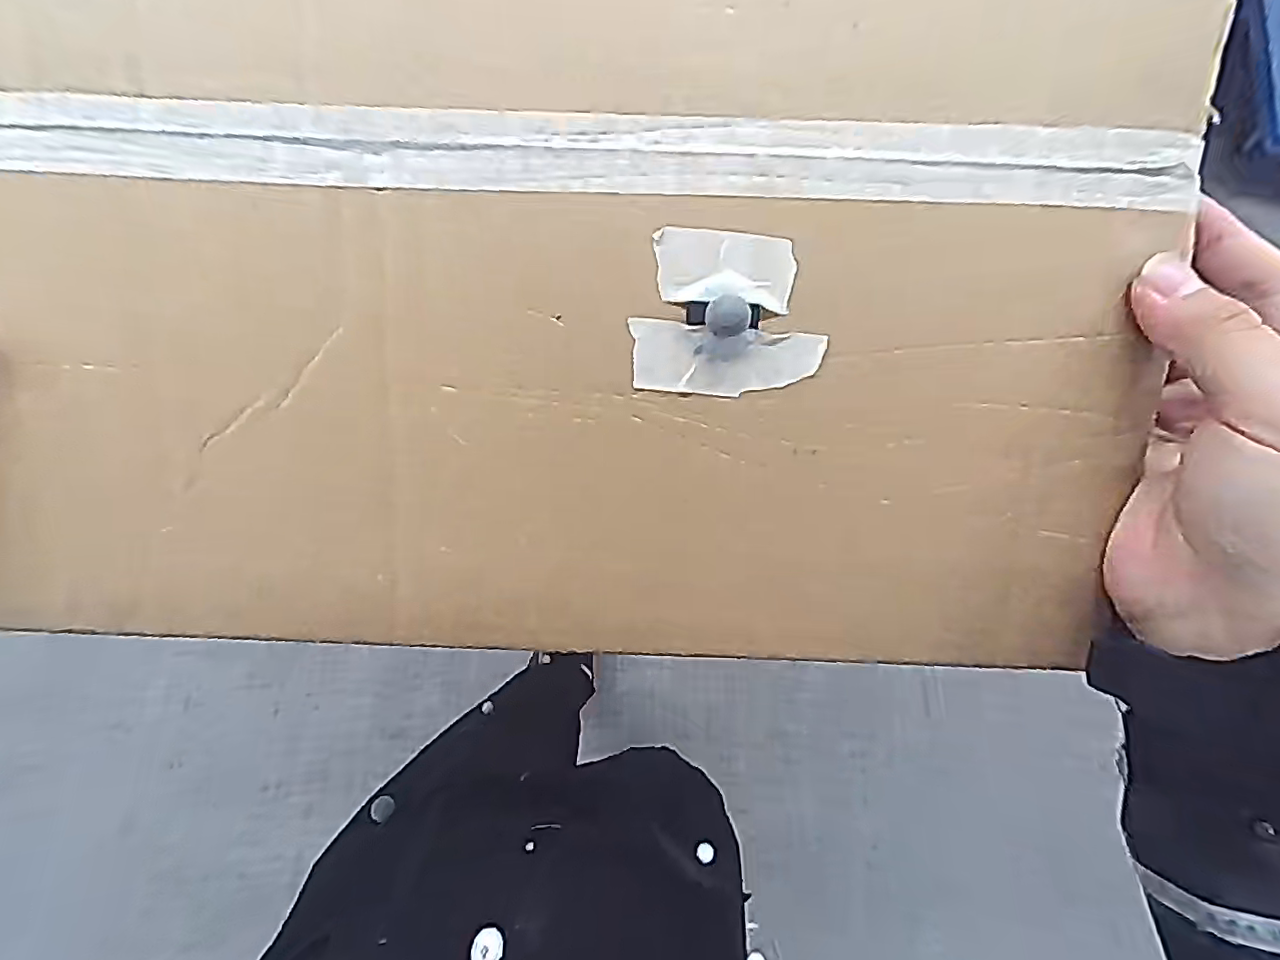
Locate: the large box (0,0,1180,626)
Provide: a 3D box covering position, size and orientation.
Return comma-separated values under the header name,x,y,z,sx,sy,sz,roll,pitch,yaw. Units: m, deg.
name,x,y,z,sx,sy,sz,roll,pitch,yaw
large box,-0.040,-0.122,0.320,0.408,0.320,0.320,2,100,-1
